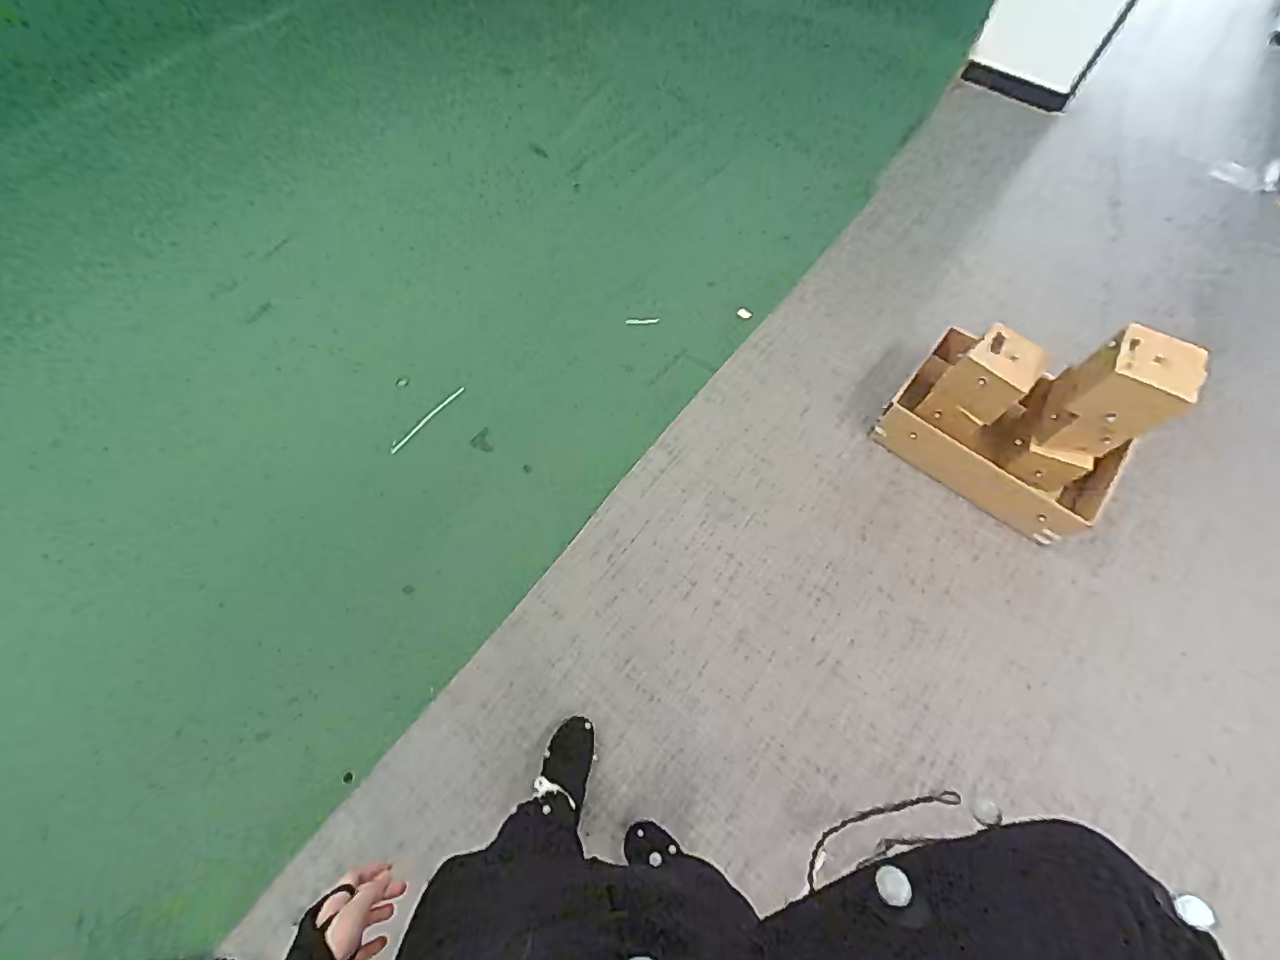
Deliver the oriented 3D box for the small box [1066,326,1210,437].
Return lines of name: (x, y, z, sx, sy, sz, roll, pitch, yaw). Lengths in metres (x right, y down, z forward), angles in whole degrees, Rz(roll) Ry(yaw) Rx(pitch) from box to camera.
small box: (1.191, -0.228, 1.303, 0.179, 0.176, 0.168, 29, 69, 12)

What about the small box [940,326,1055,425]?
small box: (0.987, -0.285, 1.509, 0.179, 0.176, 0.168, 41, 71, 16)

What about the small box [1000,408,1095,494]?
small box: (1.200, -0.083, 1.595, 0.168, 0.176, 0.179, 21, 67, 10)

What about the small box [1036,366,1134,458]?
small box: (1.211, -0.178, 1.460, 0.168, 0.176, 0.179, 11, 65, 6)
